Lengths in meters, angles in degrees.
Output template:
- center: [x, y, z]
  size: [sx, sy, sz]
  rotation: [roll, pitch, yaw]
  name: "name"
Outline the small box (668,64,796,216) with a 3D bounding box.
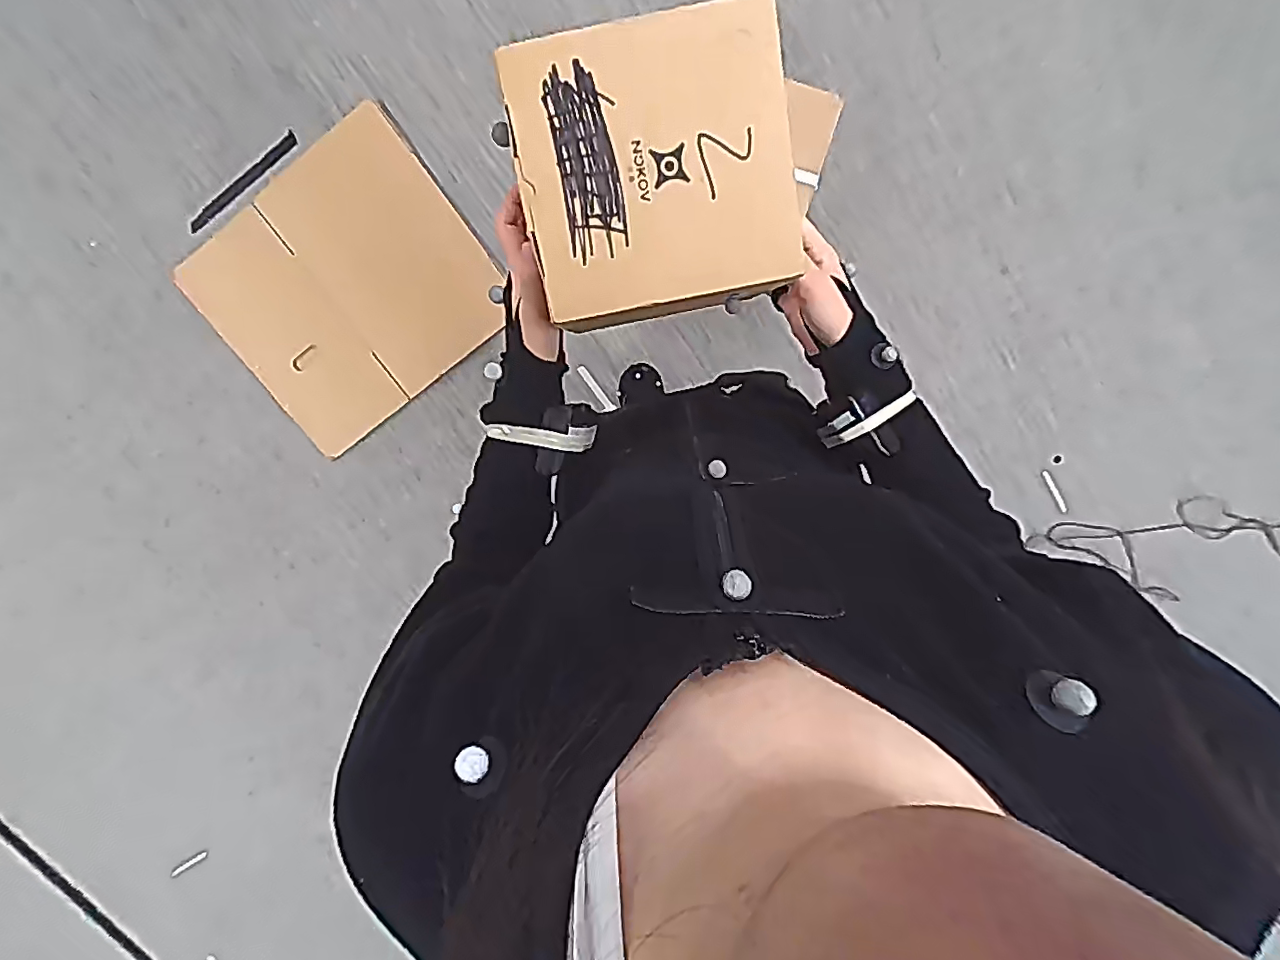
- center: [0.152, -0.595, 0.971]
  size: [0.179, 0.176, 0.168]
  rotation: [13, 104, -3]
  name: "small box"
